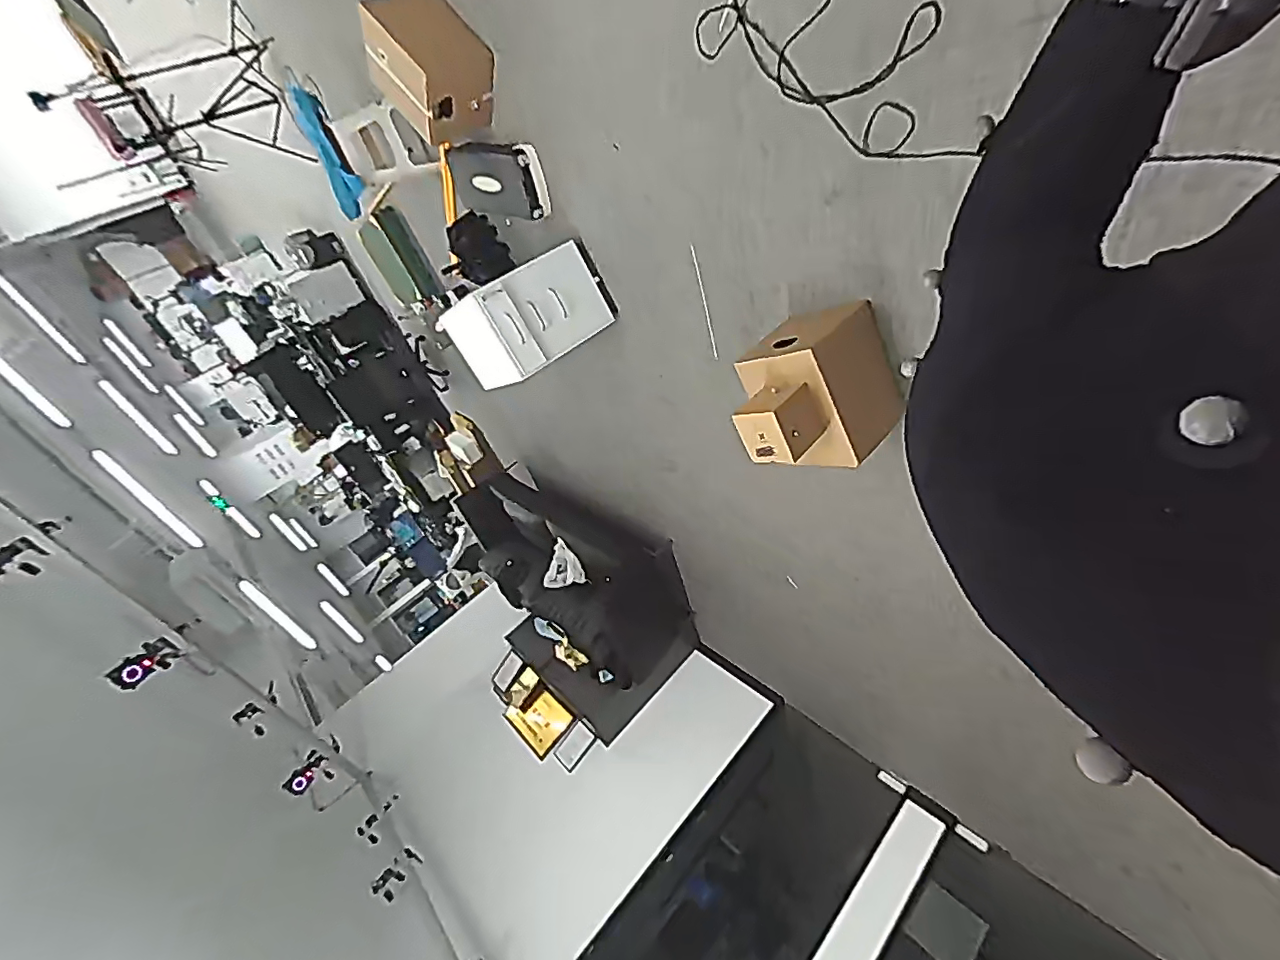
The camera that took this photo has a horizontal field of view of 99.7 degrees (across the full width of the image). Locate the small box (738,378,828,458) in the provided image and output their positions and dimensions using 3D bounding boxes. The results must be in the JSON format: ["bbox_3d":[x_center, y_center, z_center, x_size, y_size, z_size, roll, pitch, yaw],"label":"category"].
[{"bbox_3d":[0.435,-0.183,1.623,0.168,0.176,0.179,4,129,55],"label":"small box"}]
